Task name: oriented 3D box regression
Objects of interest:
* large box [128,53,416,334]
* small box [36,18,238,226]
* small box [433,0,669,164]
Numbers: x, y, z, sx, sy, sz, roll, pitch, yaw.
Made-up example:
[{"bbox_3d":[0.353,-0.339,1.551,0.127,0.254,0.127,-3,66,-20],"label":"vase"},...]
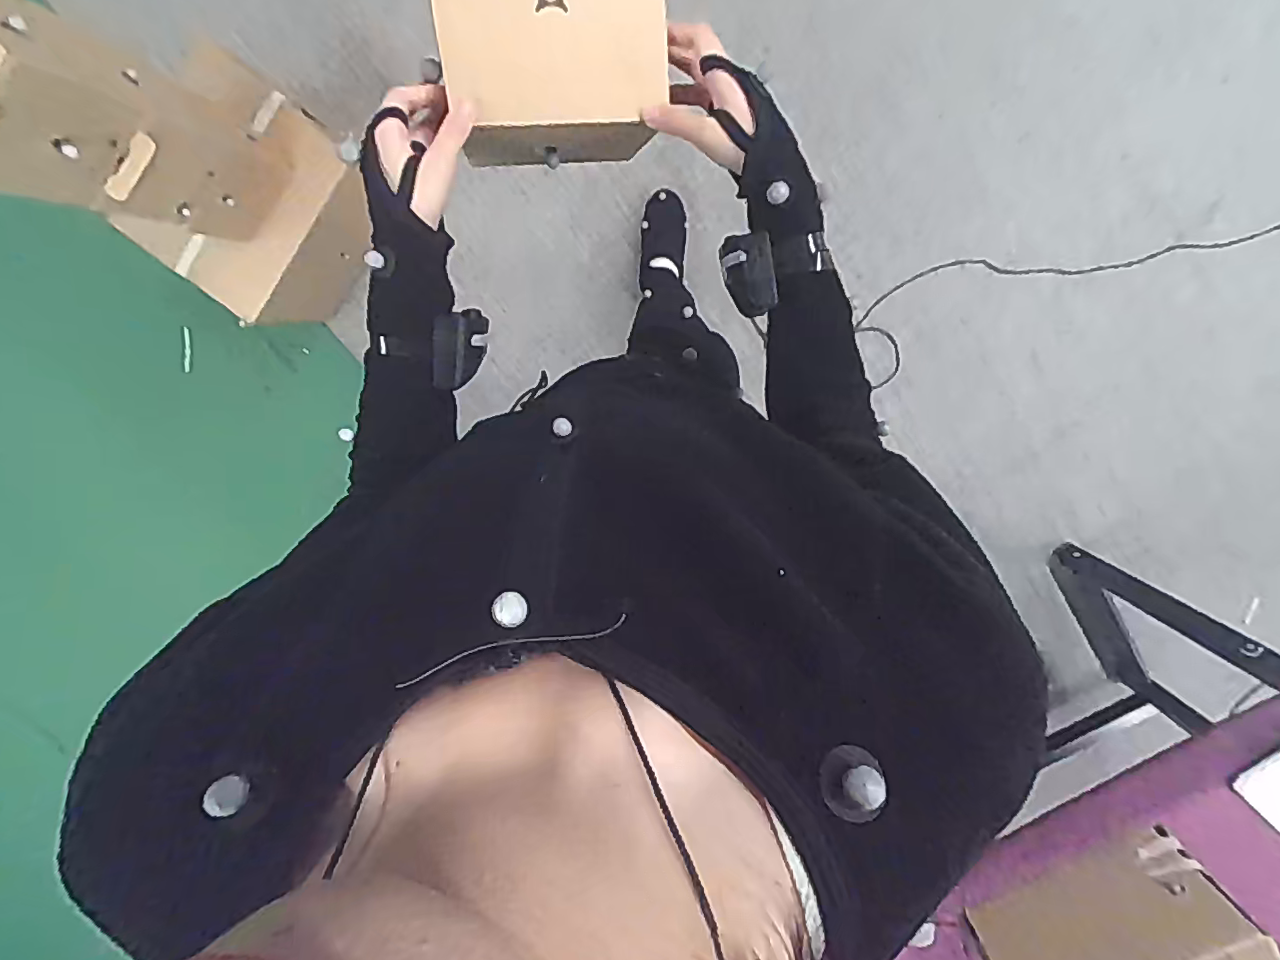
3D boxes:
[{"bbox_3d":[-0.777,-0.587,1.193,0.320,0.320,0.408,38,104,-10],"label":"large box"},{"bbox_3d":[-0.754,-0.499,0.793,0.179,0.176,0.168,43,102,-13],"label":"small box"},{"bbox_3d":[-0.076,-0.373,0.447,0.168,0.176,0.179,-8,111,-10],"label":"small box"}]
